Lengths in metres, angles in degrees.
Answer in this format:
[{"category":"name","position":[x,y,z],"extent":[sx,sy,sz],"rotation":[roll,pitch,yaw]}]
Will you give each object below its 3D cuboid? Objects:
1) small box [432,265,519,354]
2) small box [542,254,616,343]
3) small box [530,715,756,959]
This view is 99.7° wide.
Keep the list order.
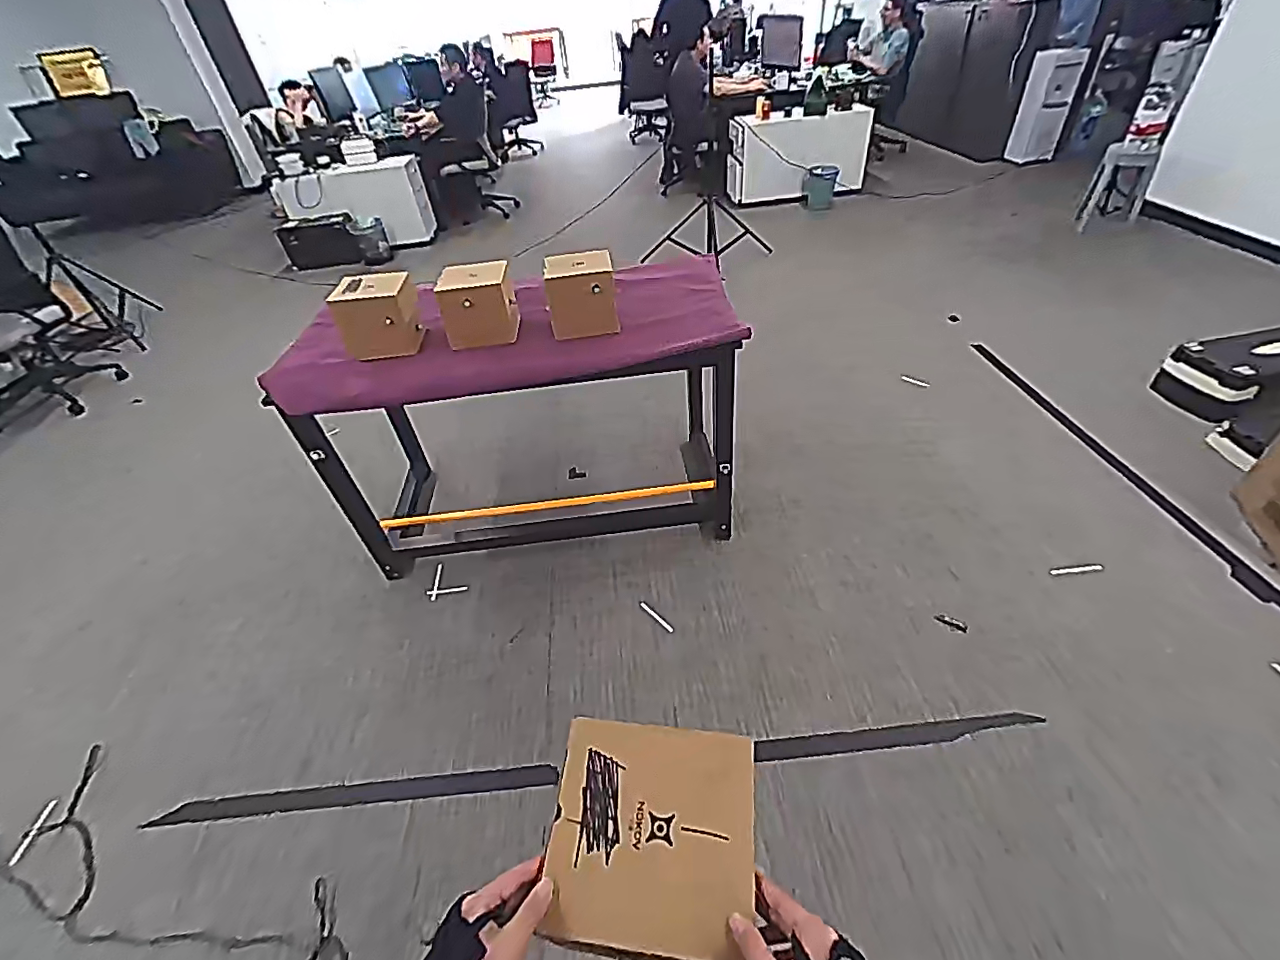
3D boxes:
[{"category":"small box","position":[-0.435,-0.462,1.467],"extent":[0.179,0.176,0.168],"rotation":[-8,41,0]},{"category":"small box","position":[-0.158,-0.487,1.450],"extent":[0.179,0.176,0.168],"rotation":[-8,39,-1]},{"category":"small box","position":[0.017,0.345,0.514],"extent":[0.179,0.176,0.168],"rotation":[2,46,8]}]
